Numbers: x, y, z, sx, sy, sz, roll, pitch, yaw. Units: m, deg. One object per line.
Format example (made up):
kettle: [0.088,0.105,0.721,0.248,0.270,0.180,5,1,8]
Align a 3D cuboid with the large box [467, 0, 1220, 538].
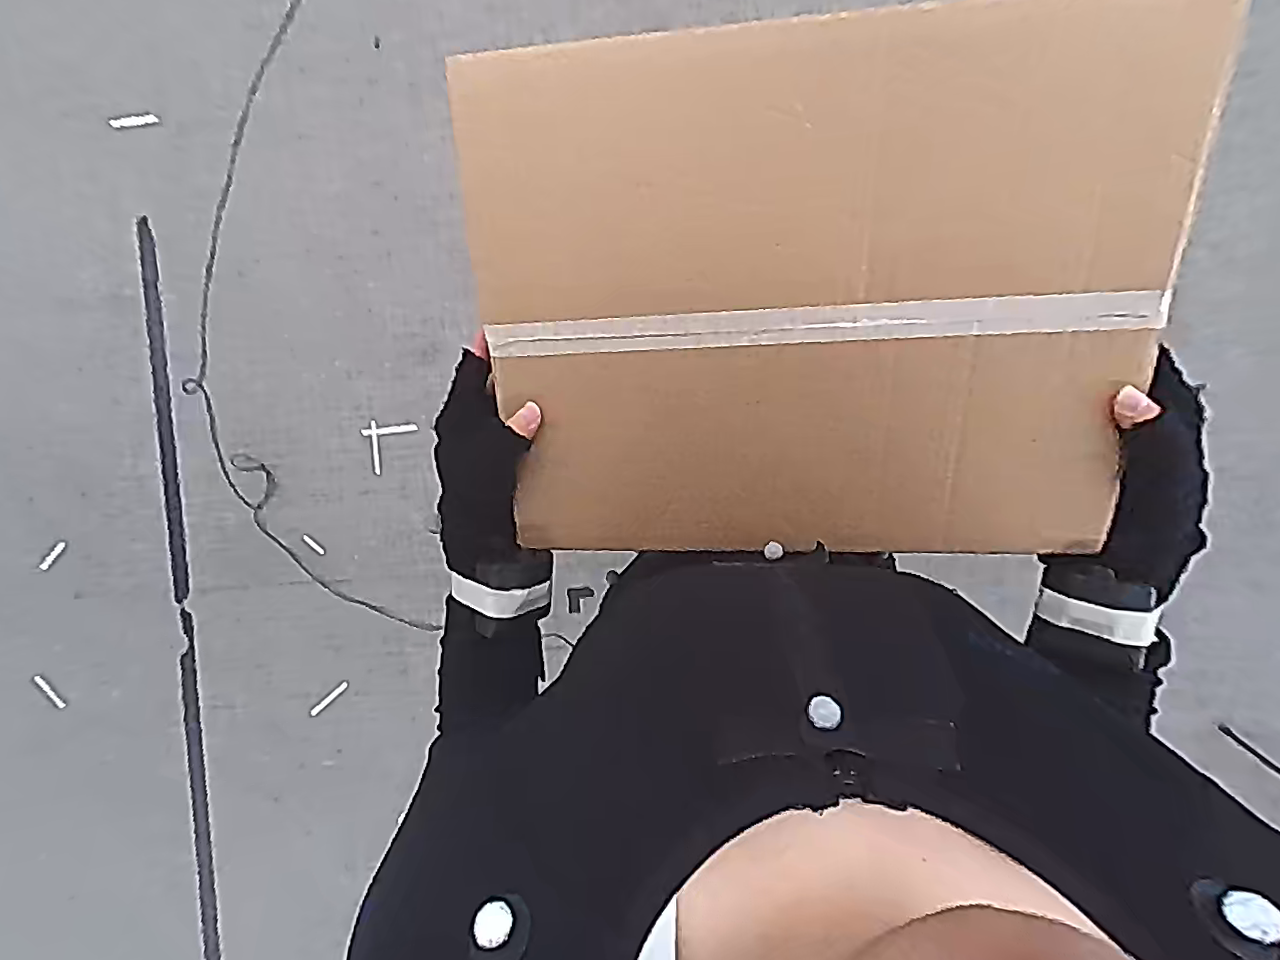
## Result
large box: [0.116,-0.154,0.482,0.408,0.320,0.320,0,112,7]
